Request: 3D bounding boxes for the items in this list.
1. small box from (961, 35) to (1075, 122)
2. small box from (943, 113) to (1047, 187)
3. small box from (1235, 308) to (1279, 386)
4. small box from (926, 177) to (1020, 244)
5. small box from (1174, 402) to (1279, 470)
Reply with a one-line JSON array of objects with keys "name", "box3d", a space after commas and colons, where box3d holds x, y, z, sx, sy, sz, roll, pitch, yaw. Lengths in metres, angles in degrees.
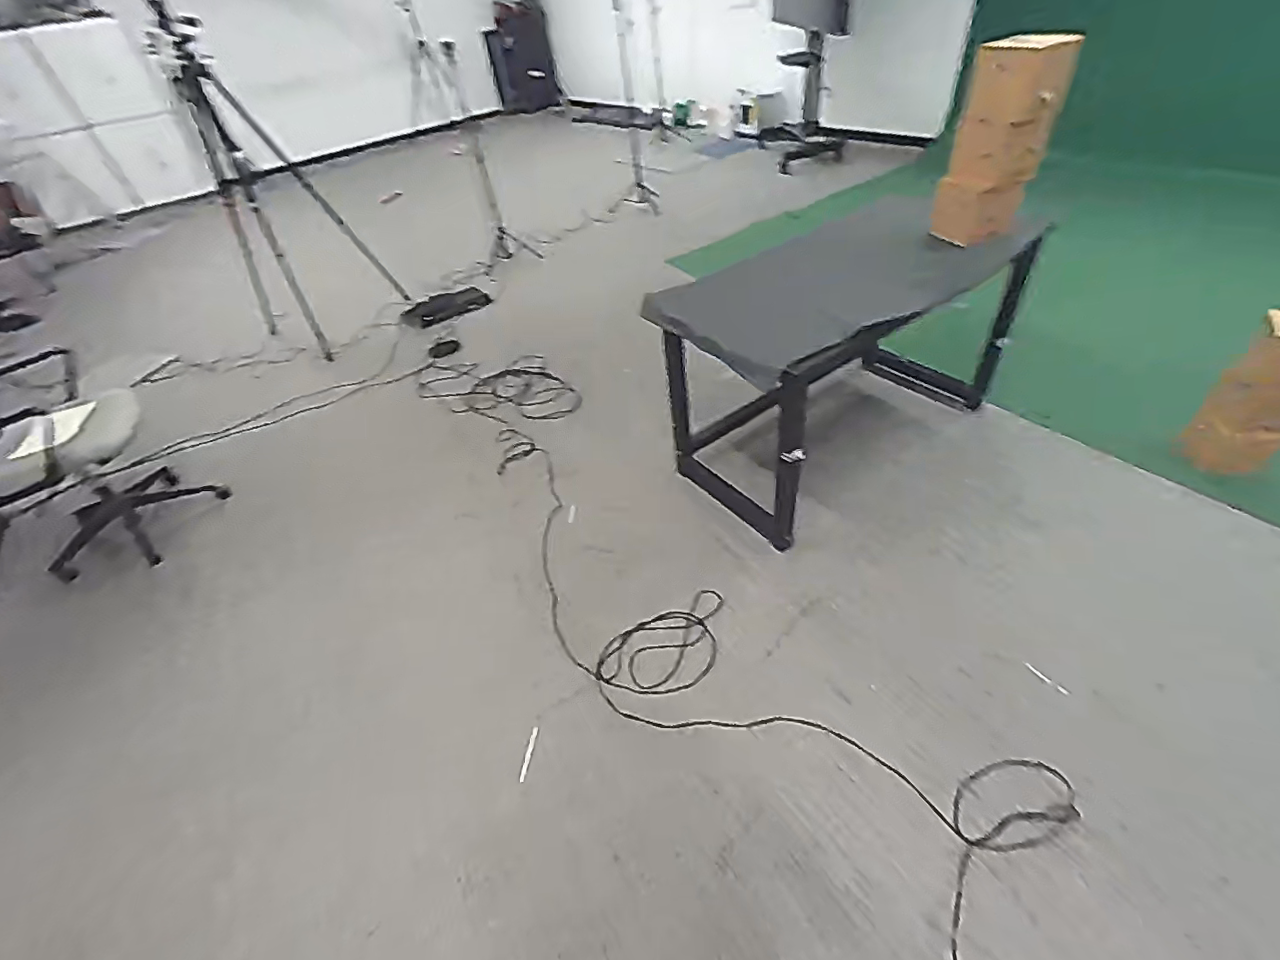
[{"name": "small box", "box3d": [1.031, -1.107, 1.493, 0.168, 0.176, 0.179, -24, 44, -14]}, {"name": "small box", "box3d": [1.044, -0.986, 1.604, 0.168, 0.176, 0.179, -19, 41, -10]}, {"name": "small box", "box3d": [1.967, -0.397, 1.636, 0.168, 0.176, 0.179, 16, 49, 26]}, {"name": "small box", "box3d": [1.046, -0.864, 1.713, 0.168, 0.176, 0.179, -16, 41, -6]}, {"name": "small box", "box3d": [2.001, -0.147, 1.847, 0.168, 0.176, 0.179, 1, 44, 13]}]
